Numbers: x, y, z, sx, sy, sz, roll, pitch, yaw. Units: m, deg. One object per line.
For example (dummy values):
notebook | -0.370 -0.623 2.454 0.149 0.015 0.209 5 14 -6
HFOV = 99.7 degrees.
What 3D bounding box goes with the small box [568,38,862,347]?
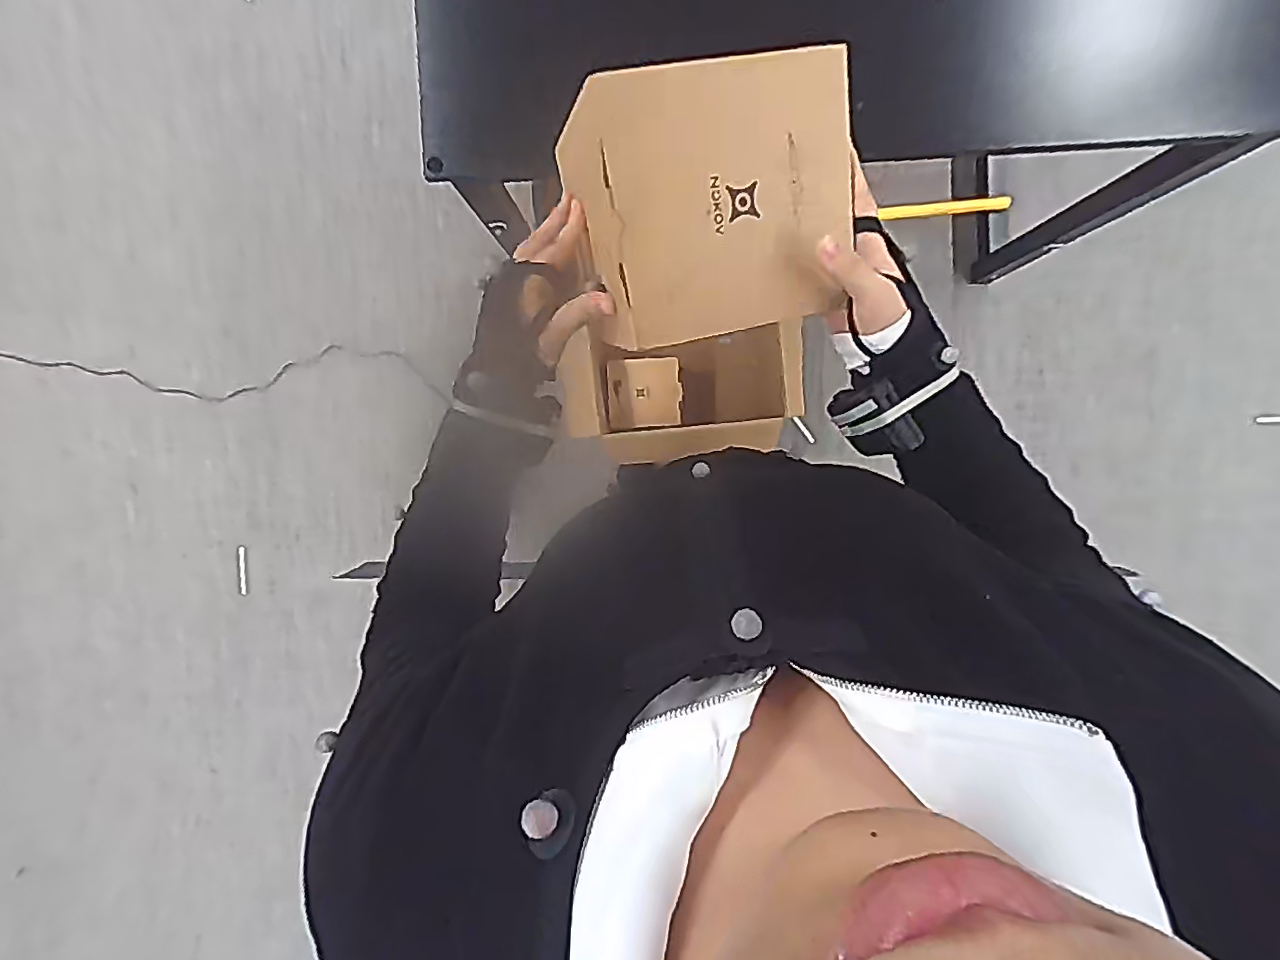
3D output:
small box | 0.047 -0.209 0.430 0.179 0.176 0.168 -16 112 -11
